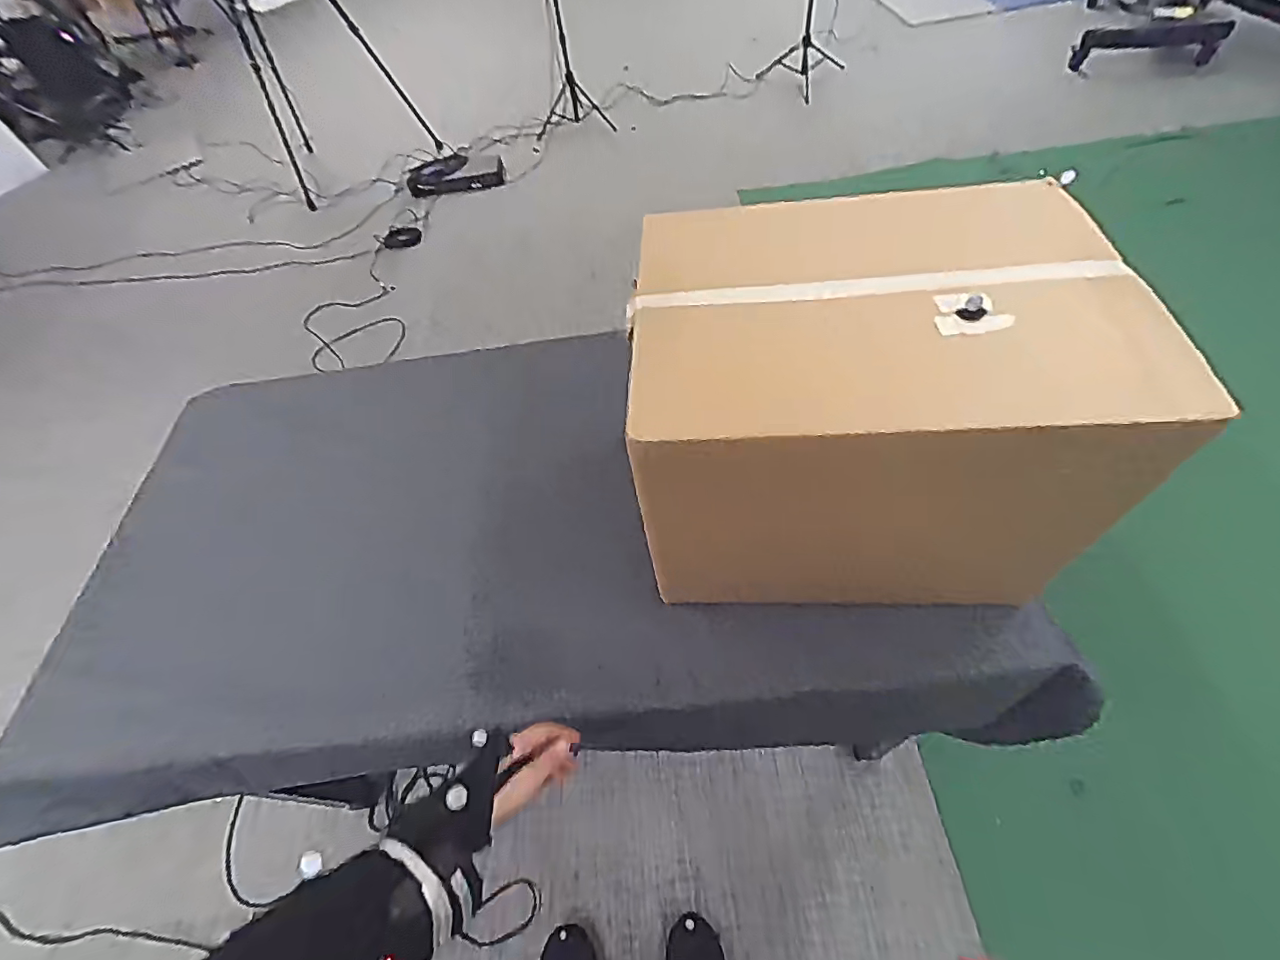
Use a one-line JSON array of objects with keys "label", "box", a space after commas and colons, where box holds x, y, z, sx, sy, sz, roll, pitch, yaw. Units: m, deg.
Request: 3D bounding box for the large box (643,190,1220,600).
[{"label": "large box", "box": [0.216, -0.073, 0.589, 0.408, 0.320, 0.320, -1, 55, 6]}]
